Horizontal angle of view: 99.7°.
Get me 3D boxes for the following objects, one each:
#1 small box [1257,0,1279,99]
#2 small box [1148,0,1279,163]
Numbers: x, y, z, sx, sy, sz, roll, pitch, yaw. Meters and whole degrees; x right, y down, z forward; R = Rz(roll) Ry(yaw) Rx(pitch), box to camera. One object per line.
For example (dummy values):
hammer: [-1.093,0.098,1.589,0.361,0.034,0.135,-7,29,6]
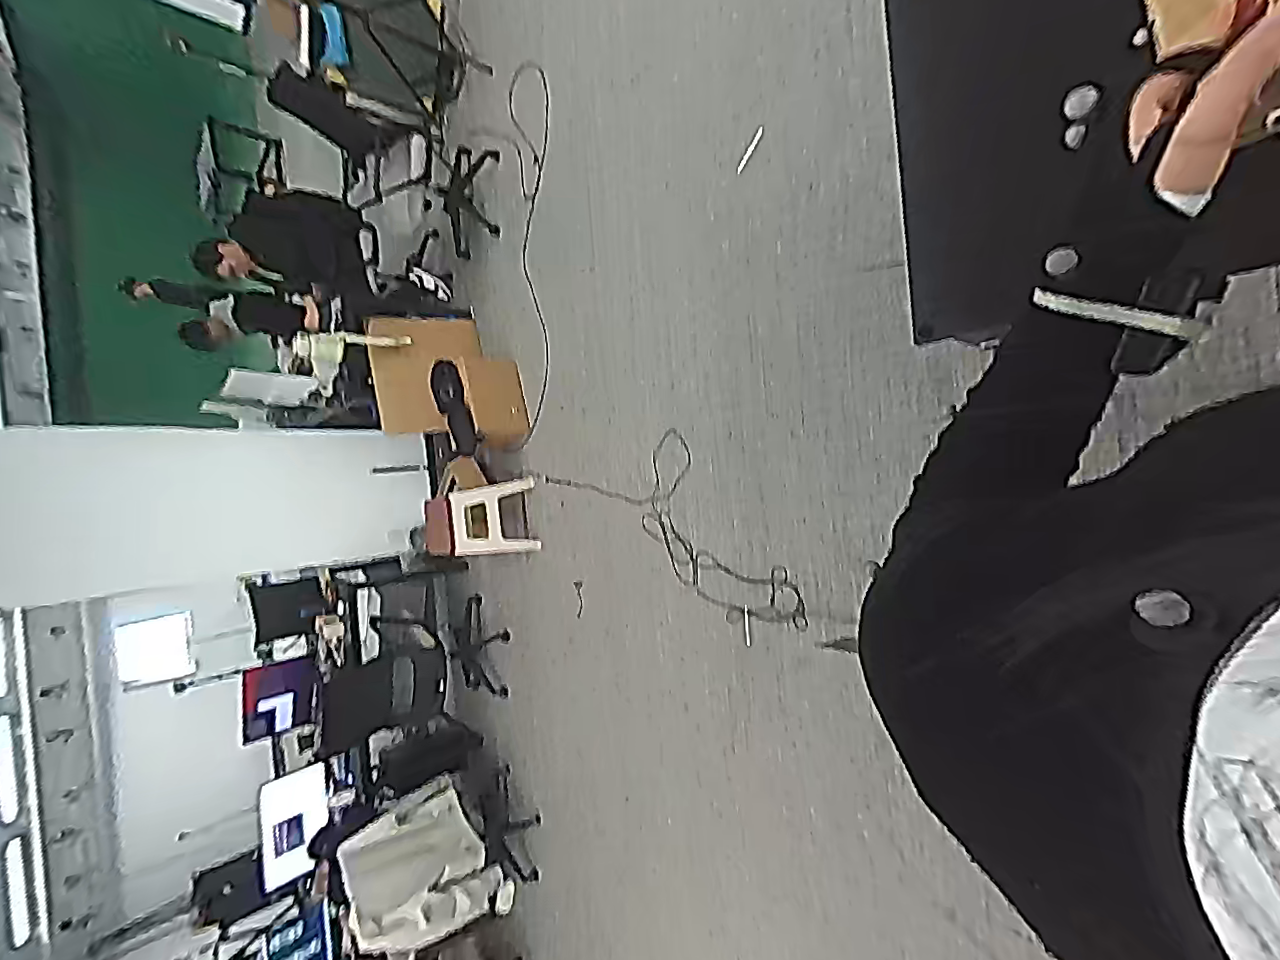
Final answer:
small box: [0.406,-0.303,0.234,0.179,0.176,0.168,4,108,46]
small box: [0.548,-0.411,0.452,0.168,0.176,0.179,-13,84,48]
